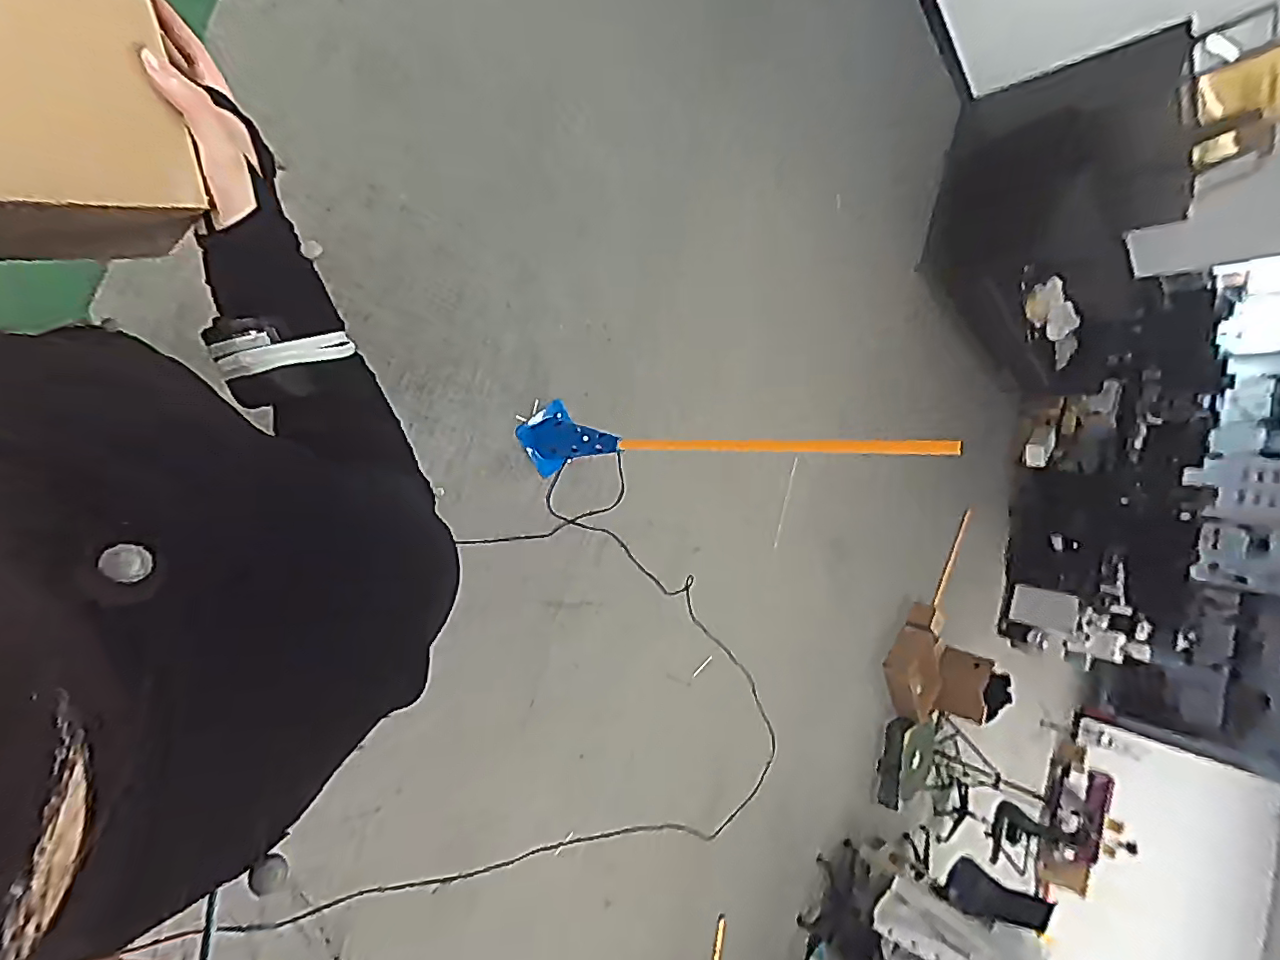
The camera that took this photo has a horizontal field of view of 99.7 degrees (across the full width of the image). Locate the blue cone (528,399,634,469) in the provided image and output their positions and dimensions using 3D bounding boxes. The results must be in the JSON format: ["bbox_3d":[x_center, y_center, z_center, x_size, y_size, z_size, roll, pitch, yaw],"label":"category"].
[{"bbox_3d":[-0.158,-0.135,1.654,0.192,0.380,0.193,-48,123,-28],"label":"blue cone"}]
